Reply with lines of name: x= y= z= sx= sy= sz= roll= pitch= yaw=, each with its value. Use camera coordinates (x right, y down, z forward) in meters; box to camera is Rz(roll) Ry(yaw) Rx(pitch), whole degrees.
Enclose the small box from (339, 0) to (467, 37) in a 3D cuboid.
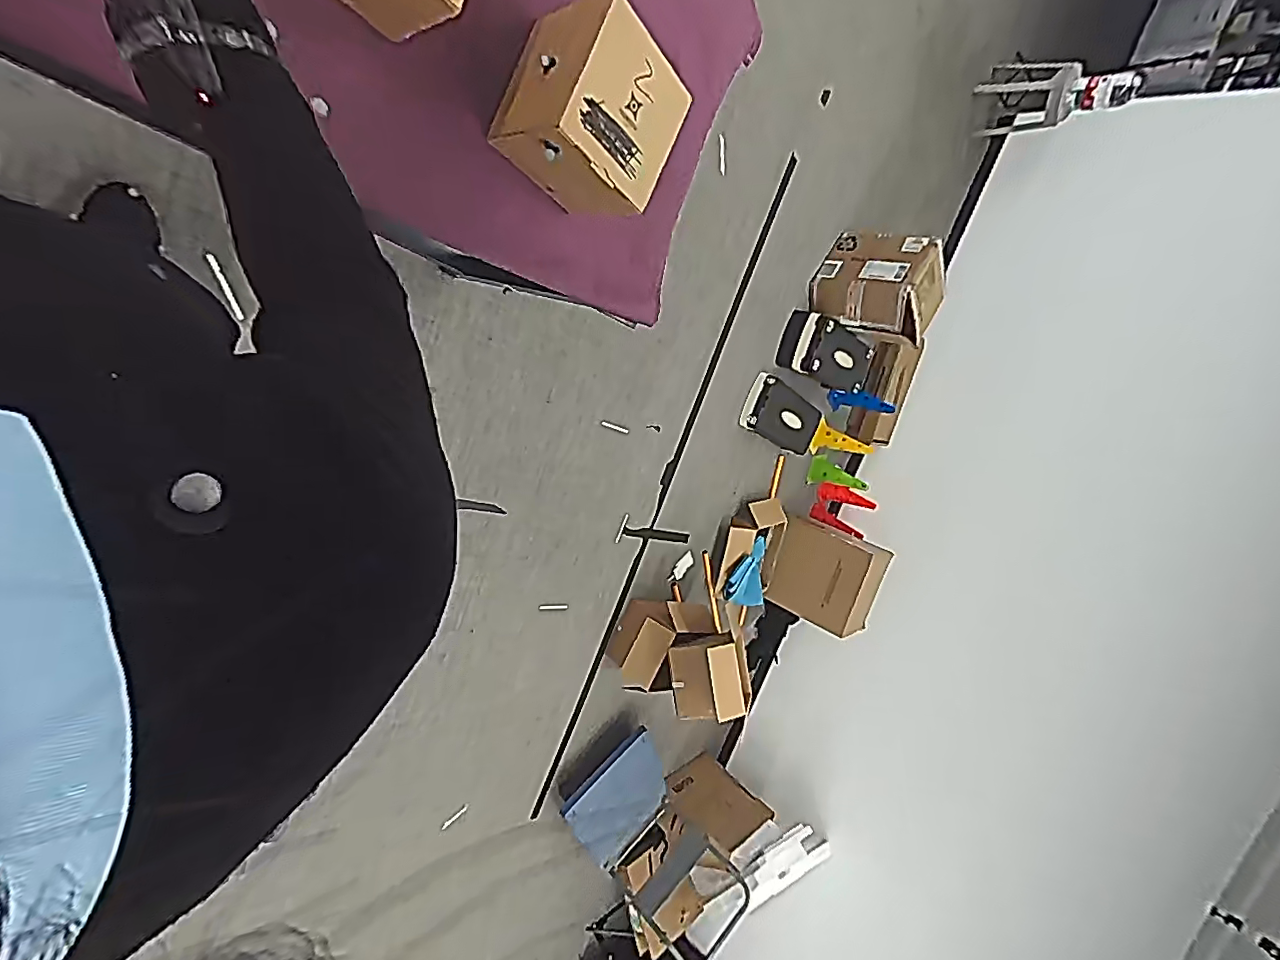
small box: x=-0.247 y=-0.571 z=0.506 sx=0.168 sy=0.176 sz=0.179 roll=16 pitch=99 yaw=-50
